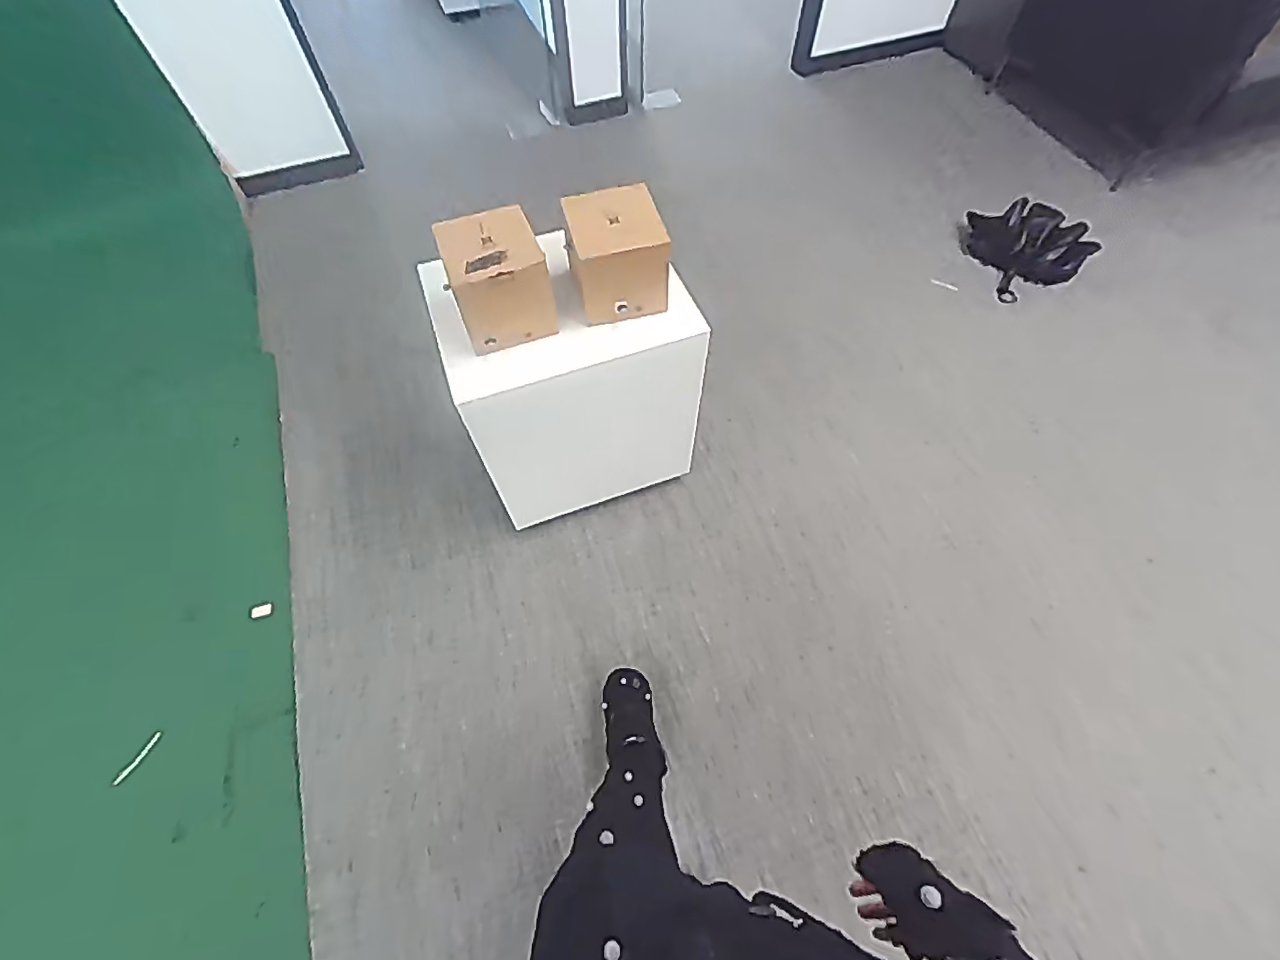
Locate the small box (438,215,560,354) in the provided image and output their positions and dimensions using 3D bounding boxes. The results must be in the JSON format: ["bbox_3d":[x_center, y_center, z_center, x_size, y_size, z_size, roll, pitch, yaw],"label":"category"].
[{"bbox_3d":[-0.260,-0.360,1.022,0.168,0.176,0.179,-19,61,-11],"label":"small box"}]

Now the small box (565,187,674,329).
[{"bbox_3d":[-0.040,-0.423,1.042,0.168,0.176,0.179,-15,63,-6],"label":"small box"}]
